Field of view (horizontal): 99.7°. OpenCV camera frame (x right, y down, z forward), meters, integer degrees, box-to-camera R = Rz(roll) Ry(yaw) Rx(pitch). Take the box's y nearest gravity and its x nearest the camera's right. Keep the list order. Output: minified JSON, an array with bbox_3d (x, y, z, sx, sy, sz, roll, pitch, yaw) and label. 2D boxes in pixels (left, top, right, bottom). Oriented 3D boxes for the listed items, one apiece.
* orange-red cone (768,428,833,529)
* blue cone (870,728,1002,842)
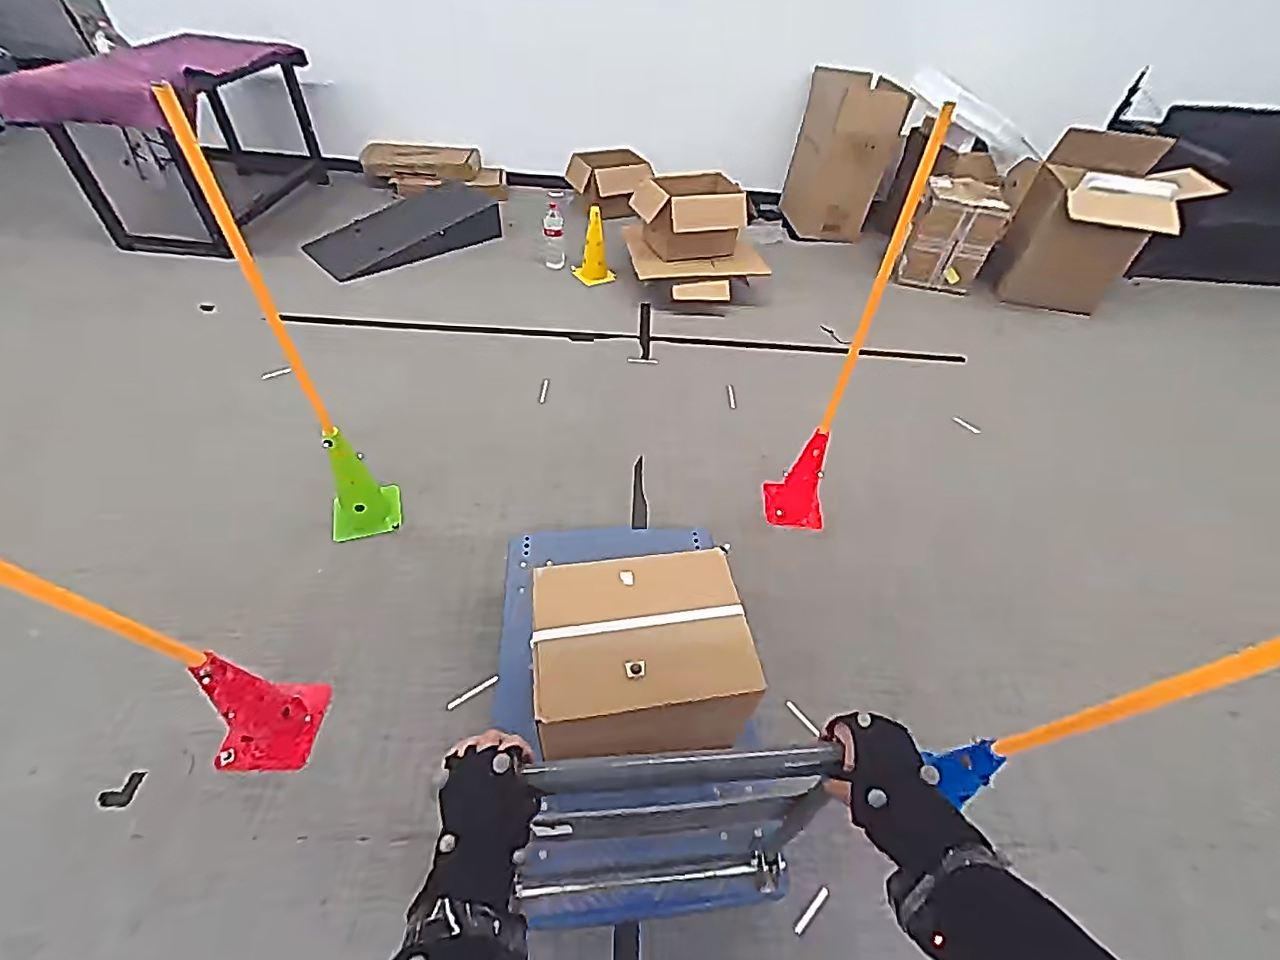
[{"bbox_3d":[0.566,-0.029,1.789,0.199,0.360,0.198,9,47,1],"label":"orange-red cone"},{"bbox_3d":[0.682,0.643,1.185,0.193,0.380,0.192,0,46,-5],"label":"blue cone"}]
